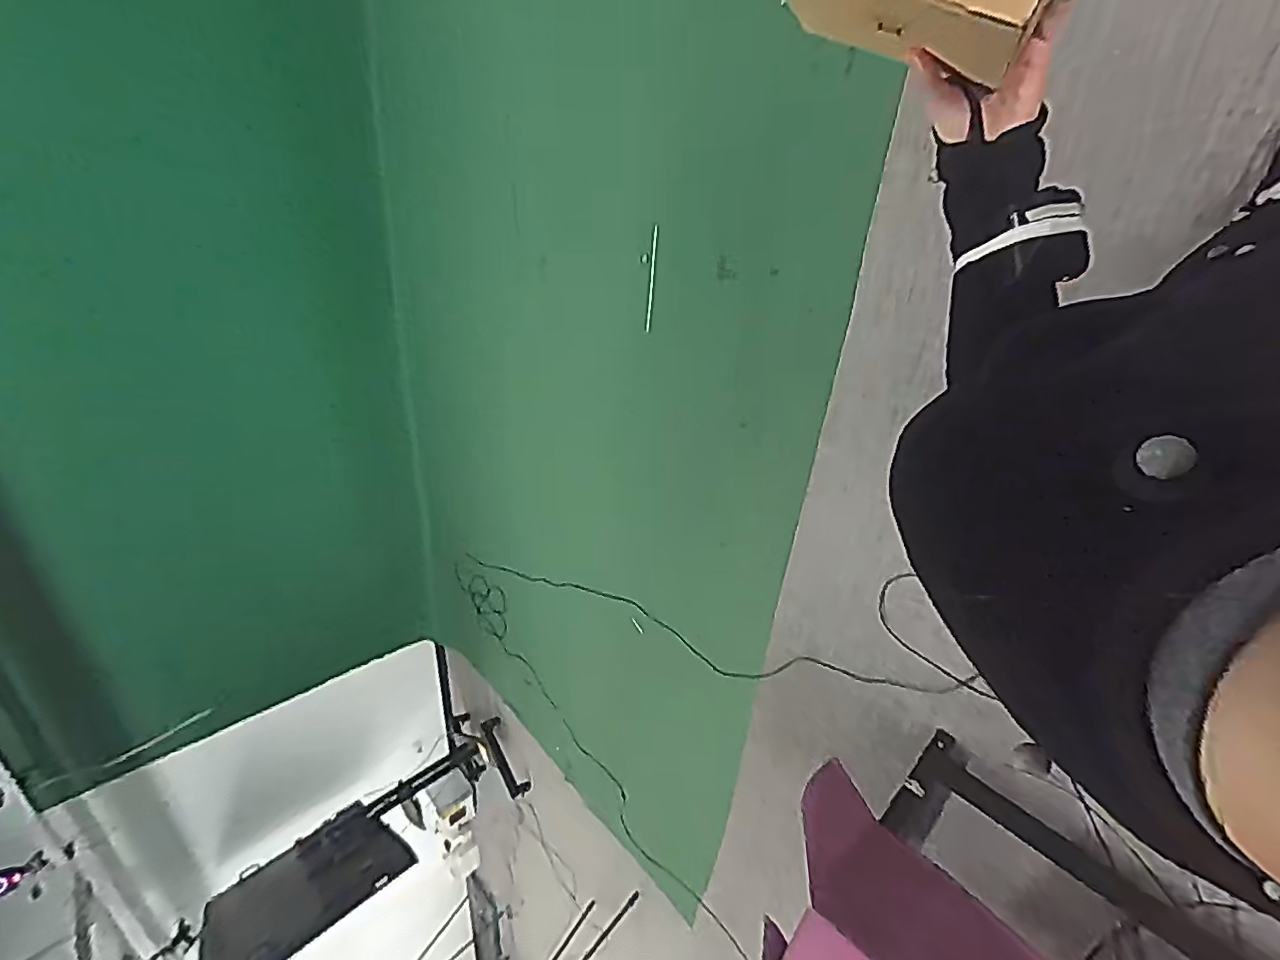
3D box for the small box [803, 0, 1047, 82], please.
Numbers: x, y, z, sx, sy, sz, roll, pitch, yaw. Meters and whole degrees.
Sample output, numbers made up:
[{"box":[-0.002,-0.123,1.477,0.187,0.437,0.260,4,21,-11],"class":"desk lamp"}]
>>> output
[{"box":[0.203,-0.382,0.325,0.168,0.179,0.176,31,124,13],"class":"small box"}]
